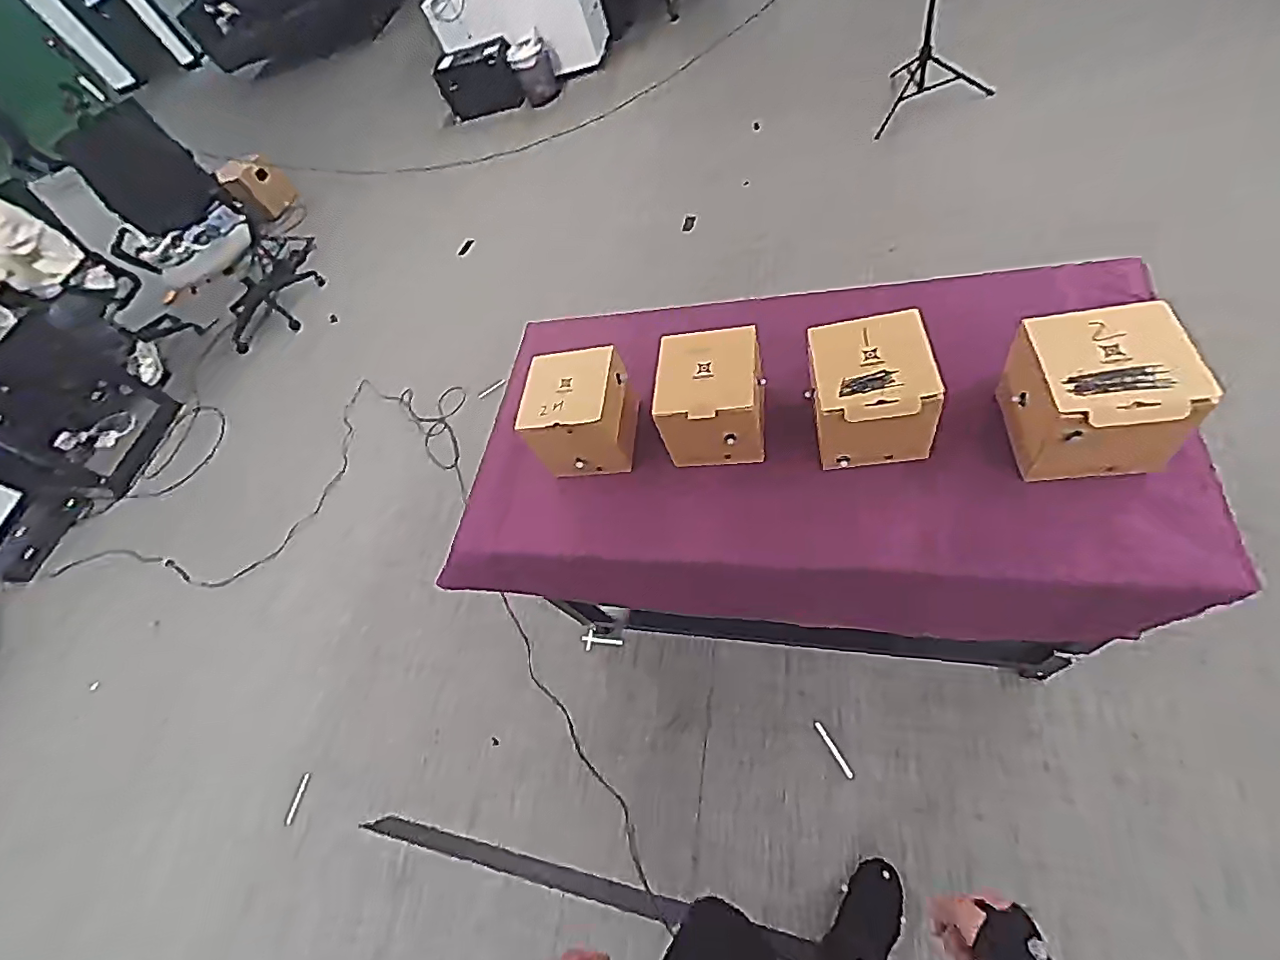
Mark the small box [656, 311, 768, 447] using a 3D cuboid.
[{"bbox_3d":[0.137,-0.168,0.958,0.168,0.176,0.179,-1,61,18],"label":"small box"}]

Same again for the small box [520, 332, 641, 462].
[{"bbox_3d":[-0.102,-0.153,1.033,0.168,0.176,0.179,-3,61,18],"label":"small box"}]

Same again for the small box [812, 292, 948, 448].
[{"bbox_3d":[0.373,-0.164,0.868,0.168,0.176,0.179,-7,59,15],"label":"small box"}]
